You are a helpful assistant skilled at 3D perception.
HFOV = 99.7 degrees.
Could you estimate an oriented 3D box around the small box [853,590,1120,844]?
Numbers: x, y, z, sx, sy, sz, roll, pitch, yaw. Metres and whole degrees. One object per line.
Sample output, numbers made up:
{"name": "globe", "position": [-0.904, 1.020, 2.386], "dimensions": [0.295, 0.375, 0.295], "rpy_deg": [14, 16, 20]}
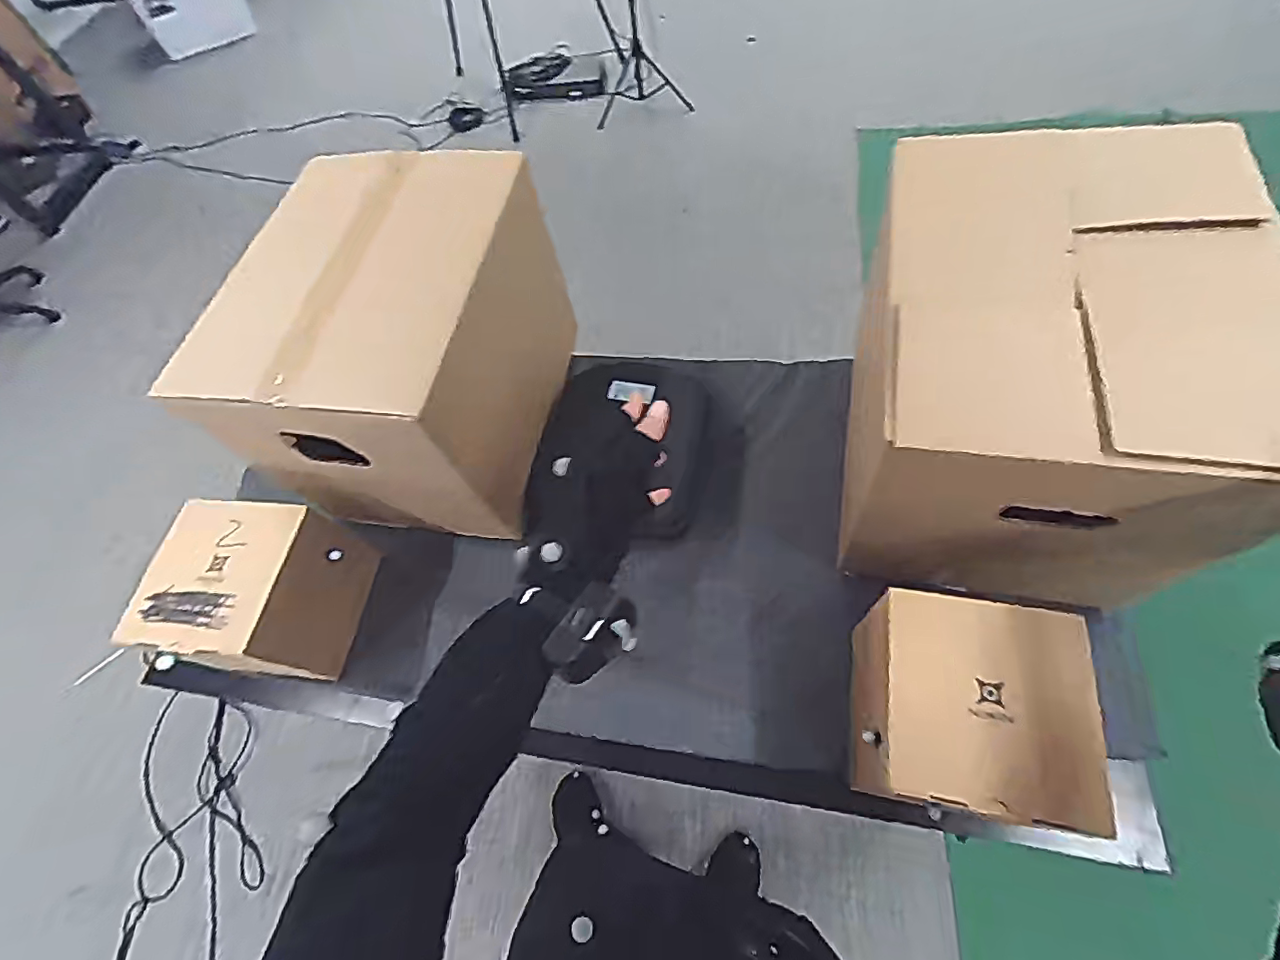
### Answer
{"name": "small box", "position": [0.314, 0.228, 0.534], "dimensions": [0.168, 0.176, 0.179], "rpy_deg": [7, 64, 13]}
